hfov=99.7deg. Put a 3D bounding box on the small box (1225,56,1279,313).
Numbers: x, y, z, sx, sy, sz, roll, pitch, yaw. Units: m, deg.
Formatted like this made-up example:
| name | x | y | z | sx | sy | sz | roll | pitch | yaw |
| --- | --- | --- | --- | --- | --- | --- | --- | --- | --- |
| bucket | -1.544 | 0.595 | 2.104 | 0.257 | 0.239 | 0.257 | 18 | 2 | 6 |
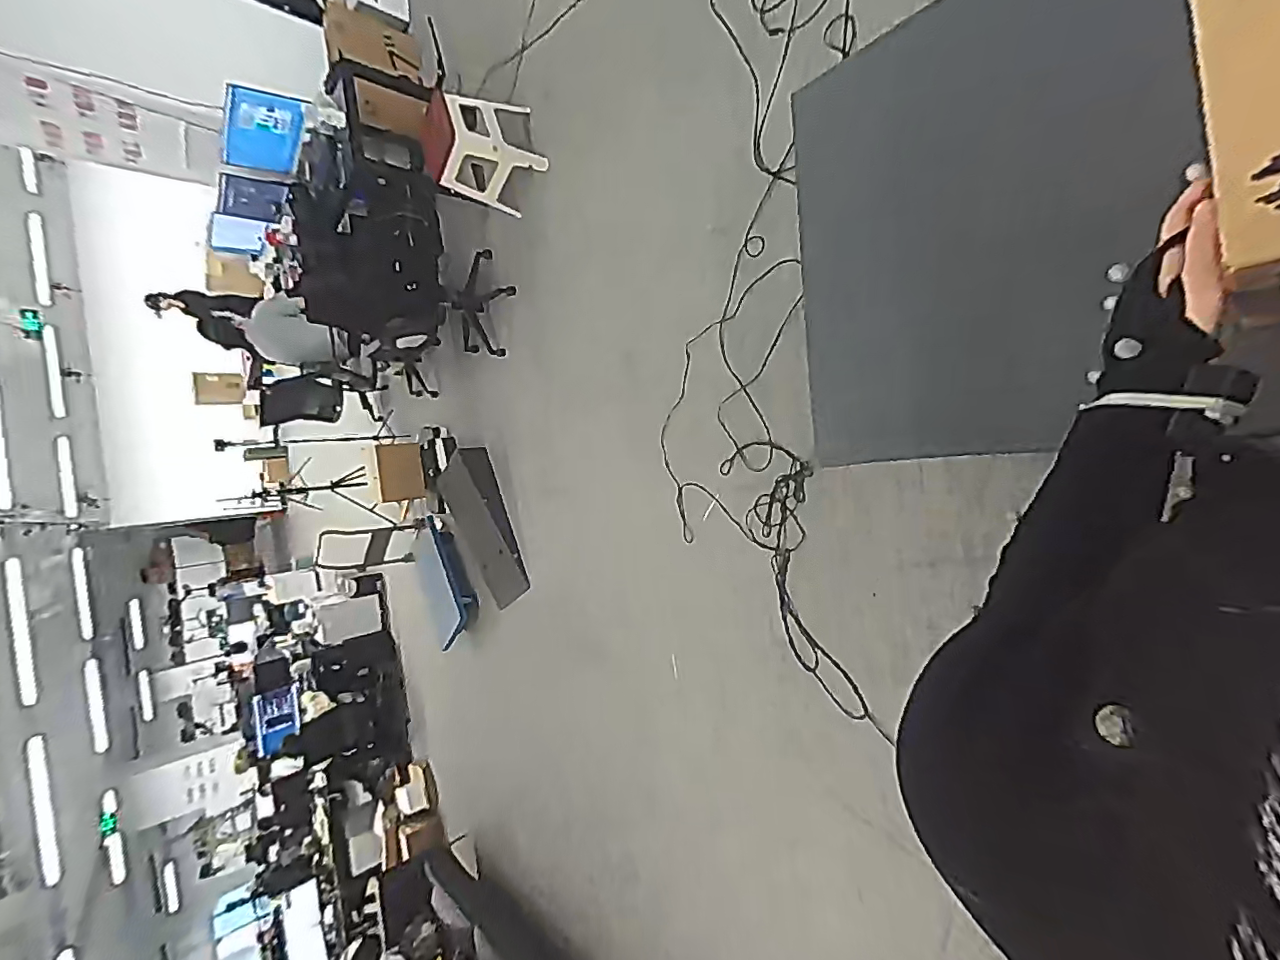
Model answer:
| name | x | y | z | sx | sy | sz | roll | pitch | yaw |
| --- | --- | --- | --- | --- | --- | --- | --- | --- | --- |
| small box | 0.590 | -0.247 | 0.424 | 0.168 | 0.176 | 0.179 | -7 | 90 | 51 |
